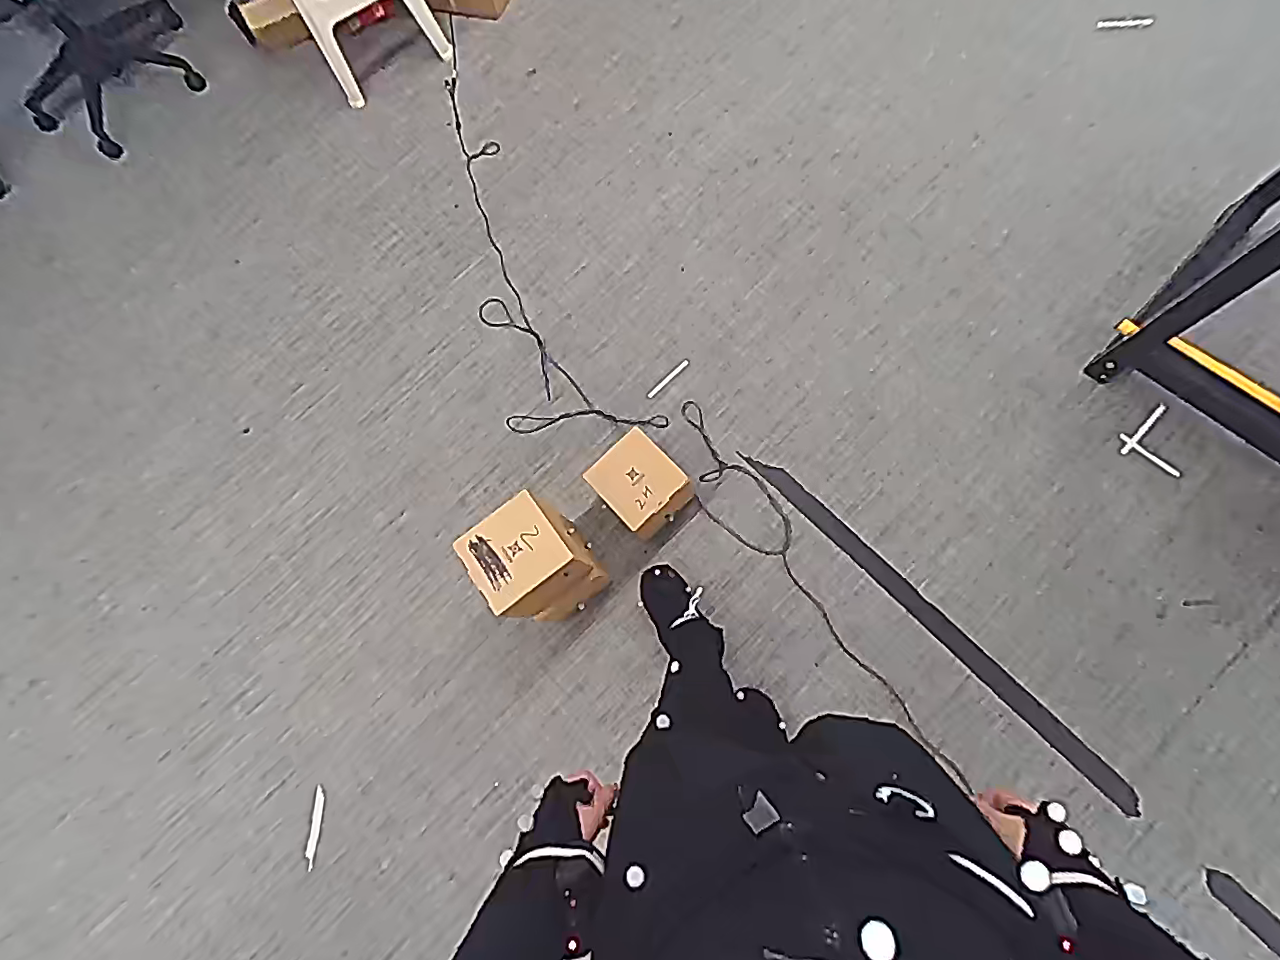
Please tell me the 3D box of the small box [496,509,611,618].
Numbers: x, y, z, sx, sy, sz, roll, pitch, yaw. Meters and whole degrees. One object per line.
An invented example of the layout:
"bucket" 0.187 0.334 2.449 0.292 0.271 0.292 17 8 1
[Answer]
"small box" -0.187 0.194 1.210 0.168 0.176 0.179 -37 74 -2

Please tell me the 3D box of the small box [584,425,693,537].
"small box" 0.003 0.010 1.233 0.168 0.176 0.179 -43 74 -3
